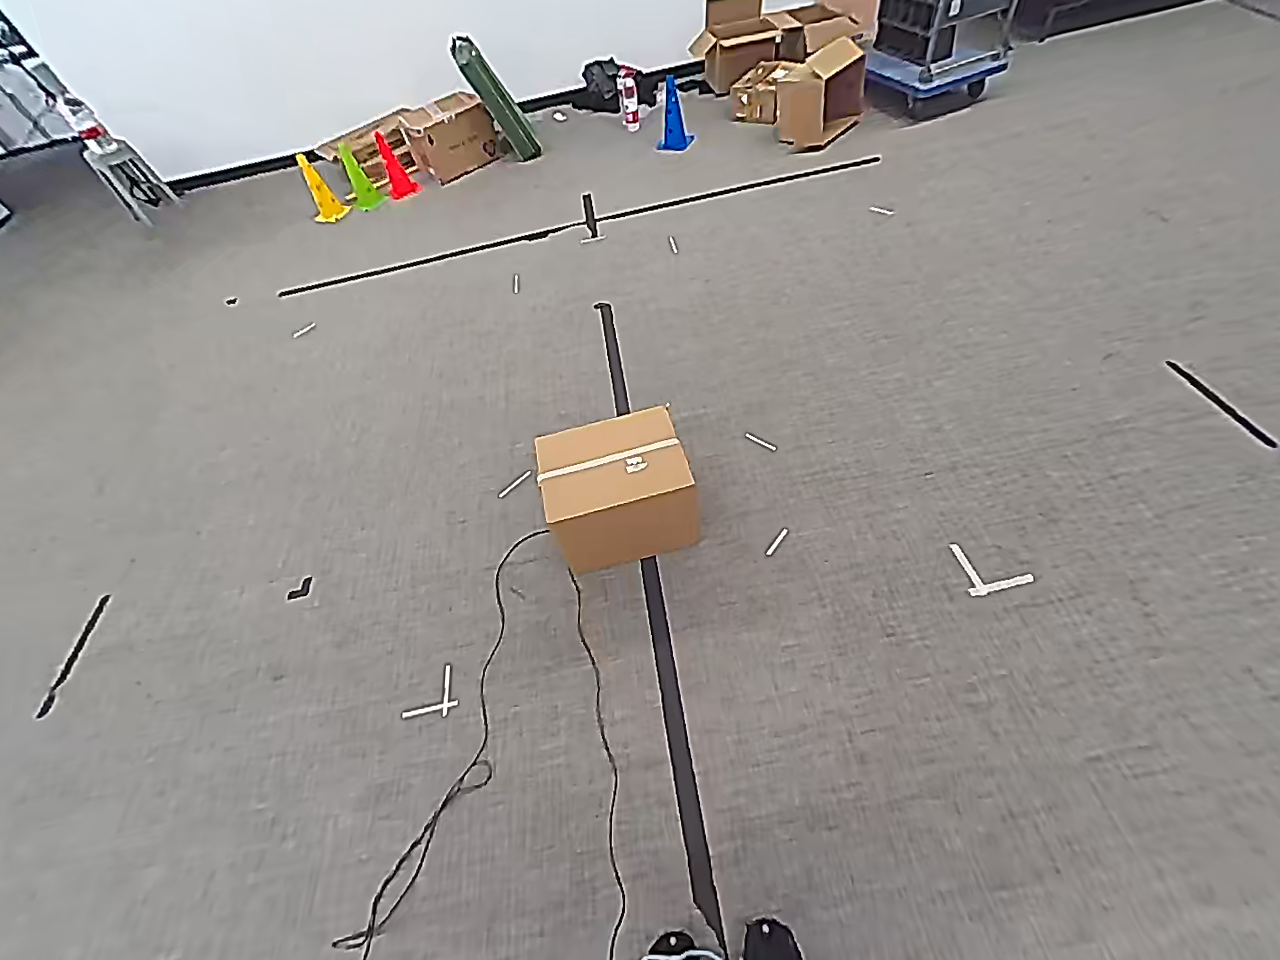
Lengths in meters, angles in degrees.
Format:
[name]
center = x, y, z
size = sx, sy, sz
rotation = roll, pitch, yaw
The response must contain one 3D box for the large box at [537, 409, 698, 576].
[large box]
center = -0.063, 0.042, 1.621
size = 0.408, 0.320, 0.320
rotation = -14, 53, -2
